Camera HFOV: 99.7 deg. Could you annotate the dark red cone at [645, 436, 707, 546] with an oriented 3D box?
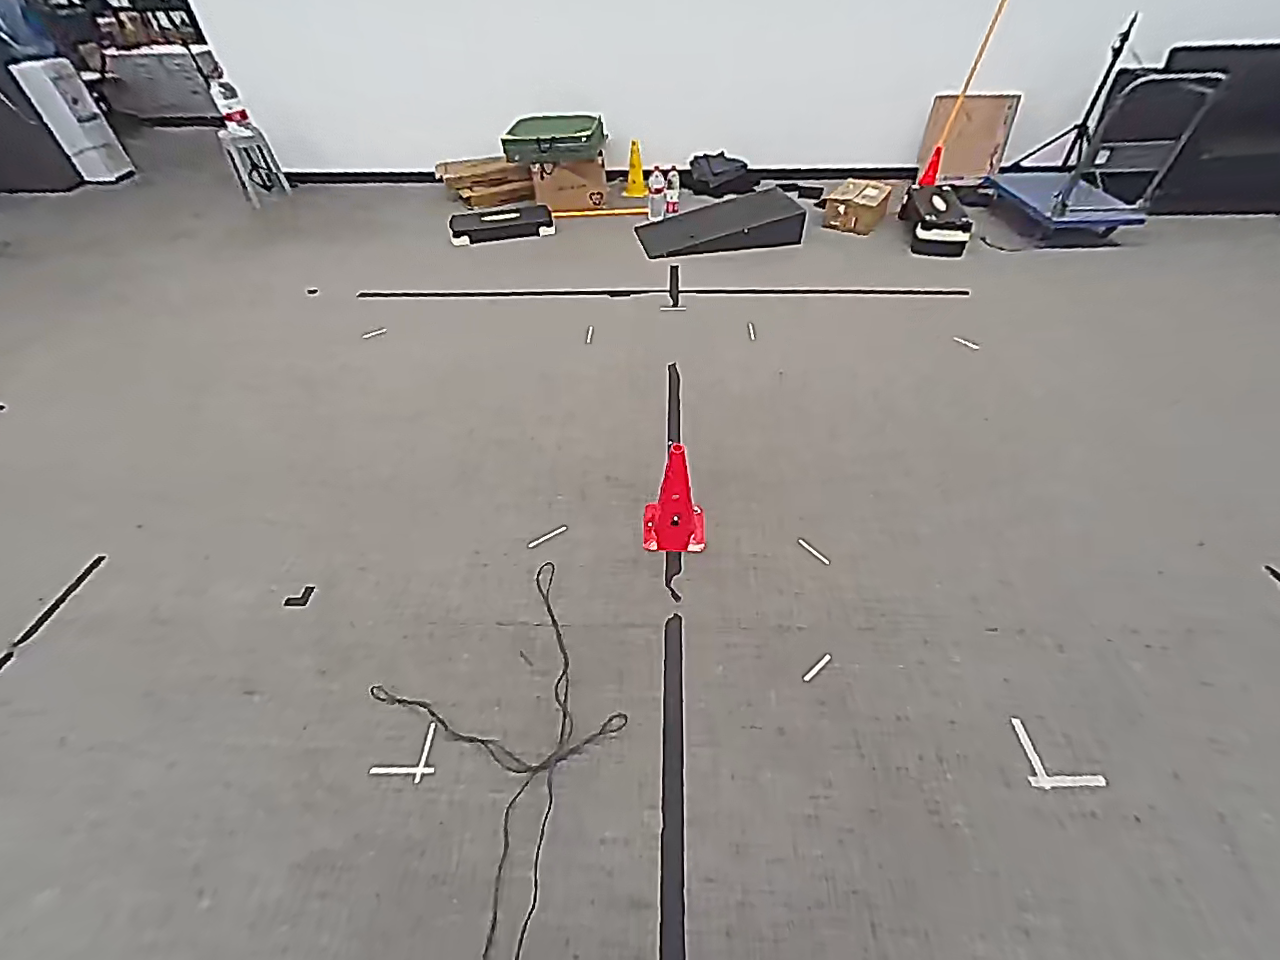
[{"bbox_3d":[0.111,0.020,1.654,0.201,0.394,0.202,0,46,2],"label":"dark red cone"}]
